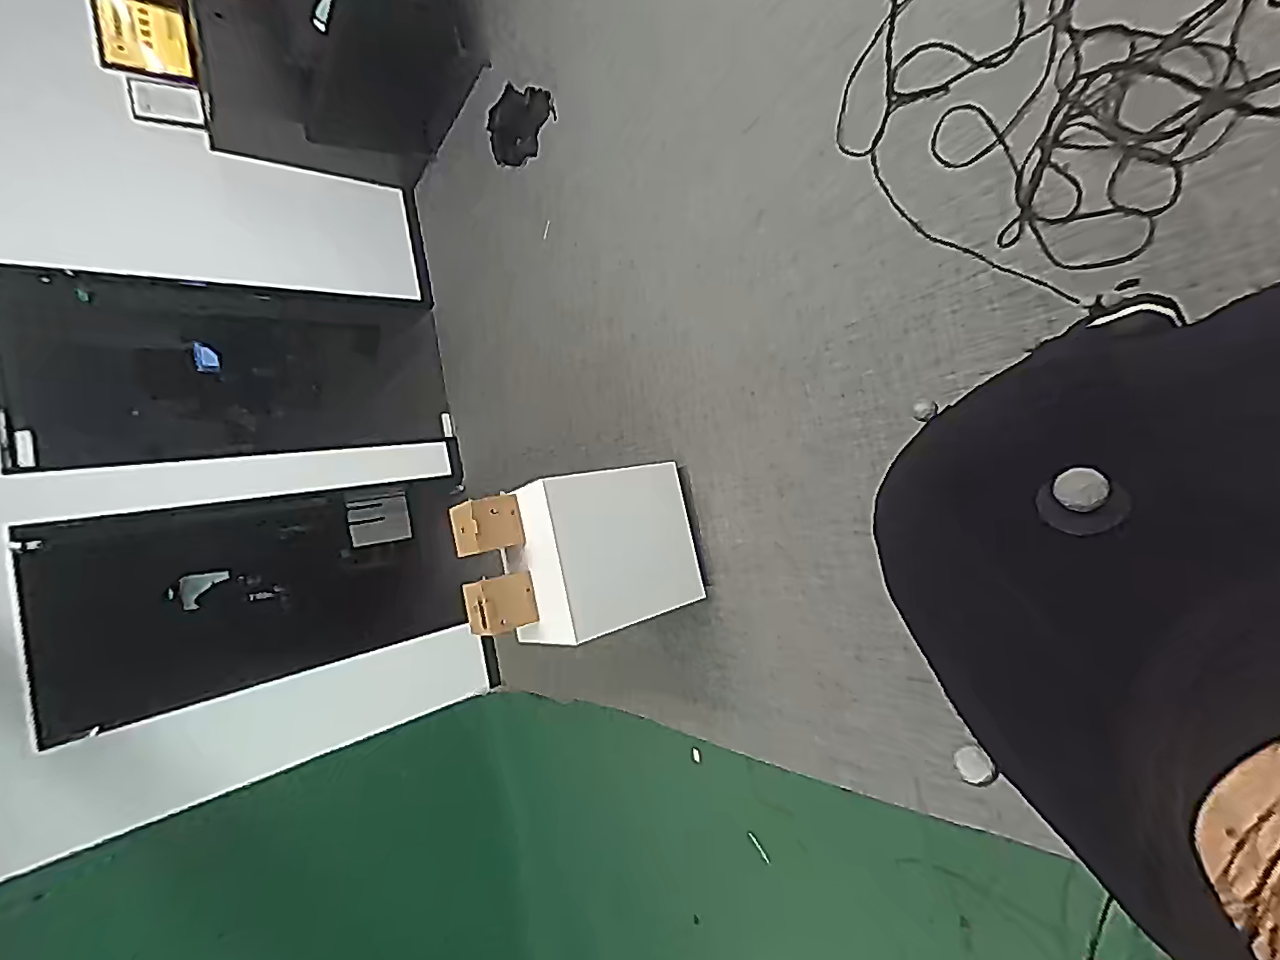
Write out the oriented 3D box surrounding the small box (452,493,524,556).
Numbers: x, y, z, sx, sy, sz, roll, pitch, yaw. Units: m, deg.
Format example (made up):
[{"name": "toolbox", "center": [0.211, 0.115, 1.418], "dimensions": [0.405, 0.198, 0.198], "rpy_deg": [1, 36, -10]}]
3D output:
[{"name": "small box", "center": [-0.491, 0.145, 1.770], "dimensions": [0.179, 0.176, 0.168], "rpy_deg": [-18, 82, 51]}]
